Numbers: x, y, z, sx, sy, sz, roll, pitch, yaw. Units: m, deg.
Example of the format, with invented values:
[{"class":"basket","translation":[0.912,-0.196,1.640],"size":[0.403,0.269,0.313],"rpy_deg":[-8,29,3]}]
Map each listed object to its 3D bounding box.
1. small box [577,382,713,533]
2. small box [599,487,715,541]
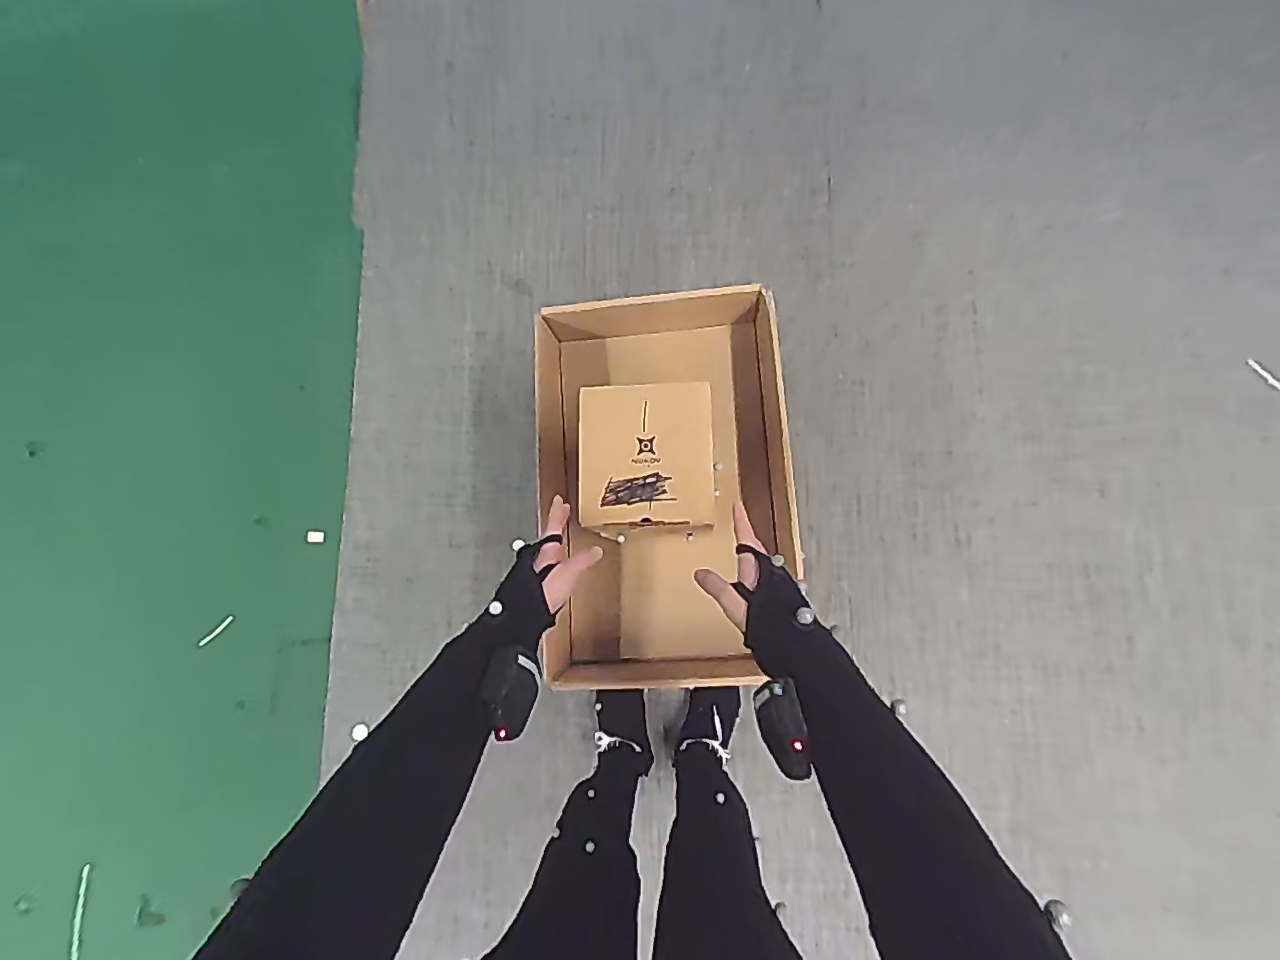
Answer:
[{"class":"small box","translation":[0.015,-0.019,0.727],"size":[0.168,0.176,0.179],"rpy_deg":[-2,80,6]},{"class":"small box","translation":[0.031,0.012,0.888],"size":[0.179,0.176,0.168],"rpy_deg":[-4,80,5]}]
